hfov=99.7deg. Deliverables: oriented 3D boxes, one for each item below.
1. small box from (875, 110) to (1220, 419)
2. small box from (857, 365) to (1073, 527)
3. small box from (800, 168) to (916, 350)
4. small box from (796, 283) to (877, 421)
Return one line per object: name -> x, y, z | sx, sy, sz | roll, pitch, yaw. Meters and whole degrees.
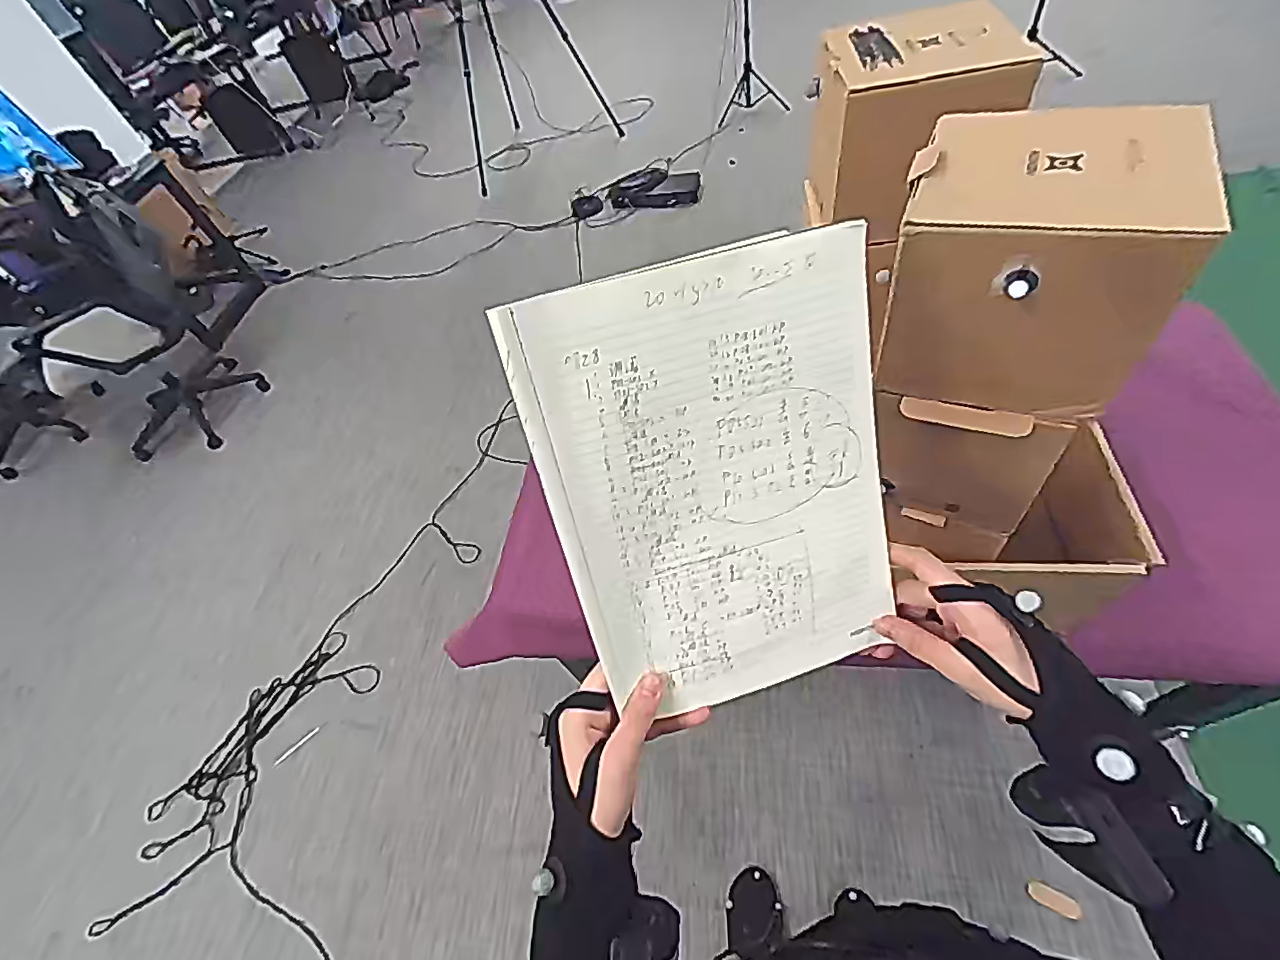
small box -> 0.306, -0.171, 0.443 | 0.179, 0.176, 0.168 | 15, 59, 24
small box -> 0.337, -0.077, 0.572 | 0.168, 0.176, 0.179 | 17, 58, 26
small box -> 0.318, -0.297, 0.749 | 0.179, 0.176, 0.168 | -3, 55, 11
small box -> 0.344, -0.208, 0.880 | 0.168, 0.176, 0.179 | -1, 56, 13
